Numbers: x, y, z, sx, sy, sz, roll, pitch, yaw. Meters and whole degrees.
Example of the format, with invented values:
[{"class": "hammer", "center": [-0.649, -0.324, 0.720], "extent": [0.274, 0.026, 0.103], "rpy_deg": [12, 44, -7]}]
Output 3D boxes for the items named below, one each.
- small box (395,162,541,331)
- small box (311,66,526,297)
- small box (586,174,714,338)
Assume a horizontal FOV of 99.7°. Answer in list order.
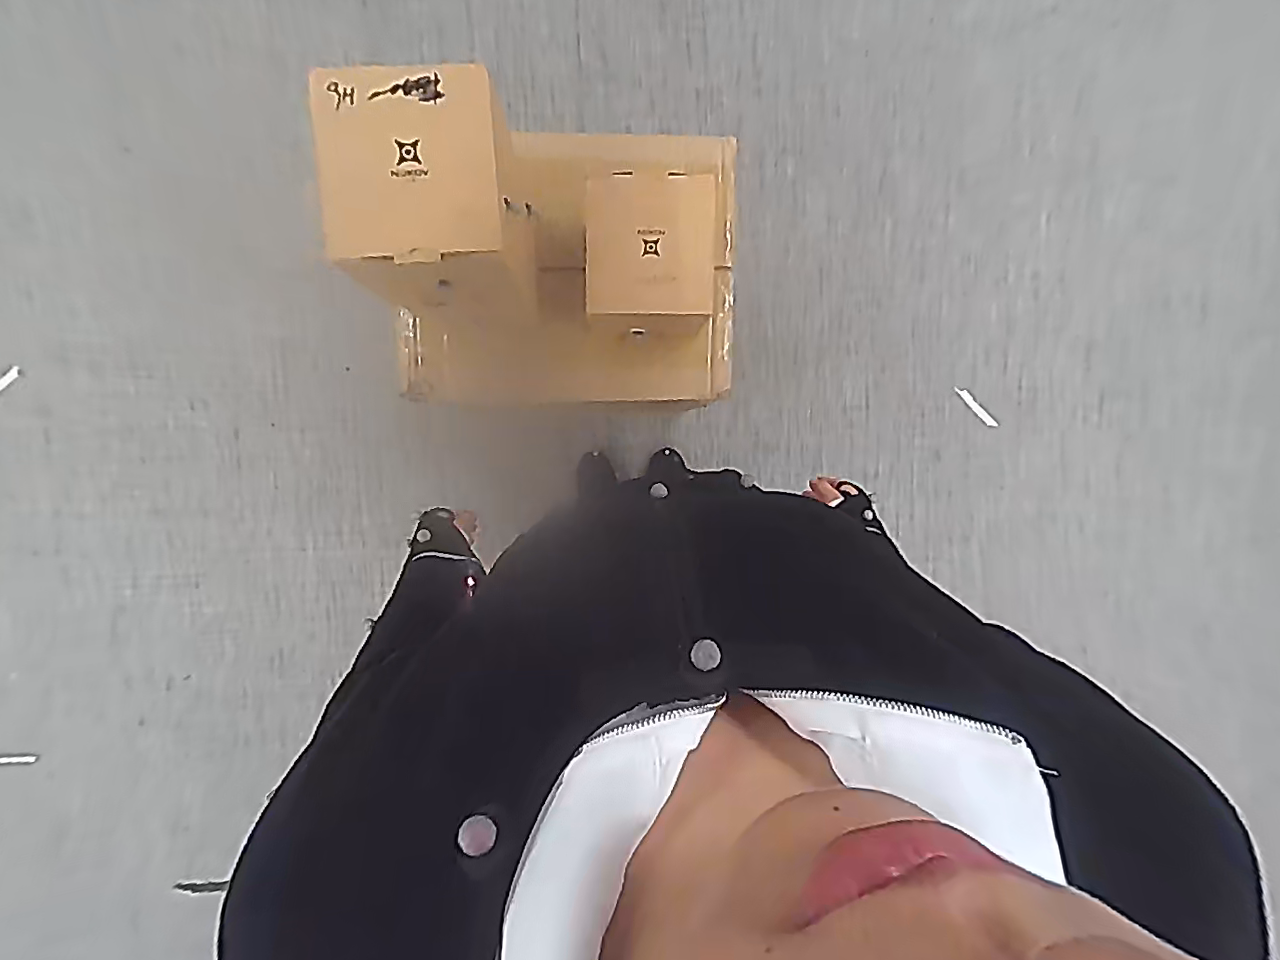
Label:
[{"class": "small box", "center": [-0.233, -0.315, 0.755], "extent": [0.168, 0.176, 0.179], "rpy_deg": [-2, 95, -4]}, {"class": "small box", "center": [-0.223, -0.305, 0.591], "extent": [0.168, 0.176, 0.179], "rpy_deg": [-4, 95, -3]}, {"class": "small box", "center": [0.011, -0.306, 0.769], "extent": [0.168, 0.176, 0.179], "rpy_deg": [-1, 96, 0]}]
